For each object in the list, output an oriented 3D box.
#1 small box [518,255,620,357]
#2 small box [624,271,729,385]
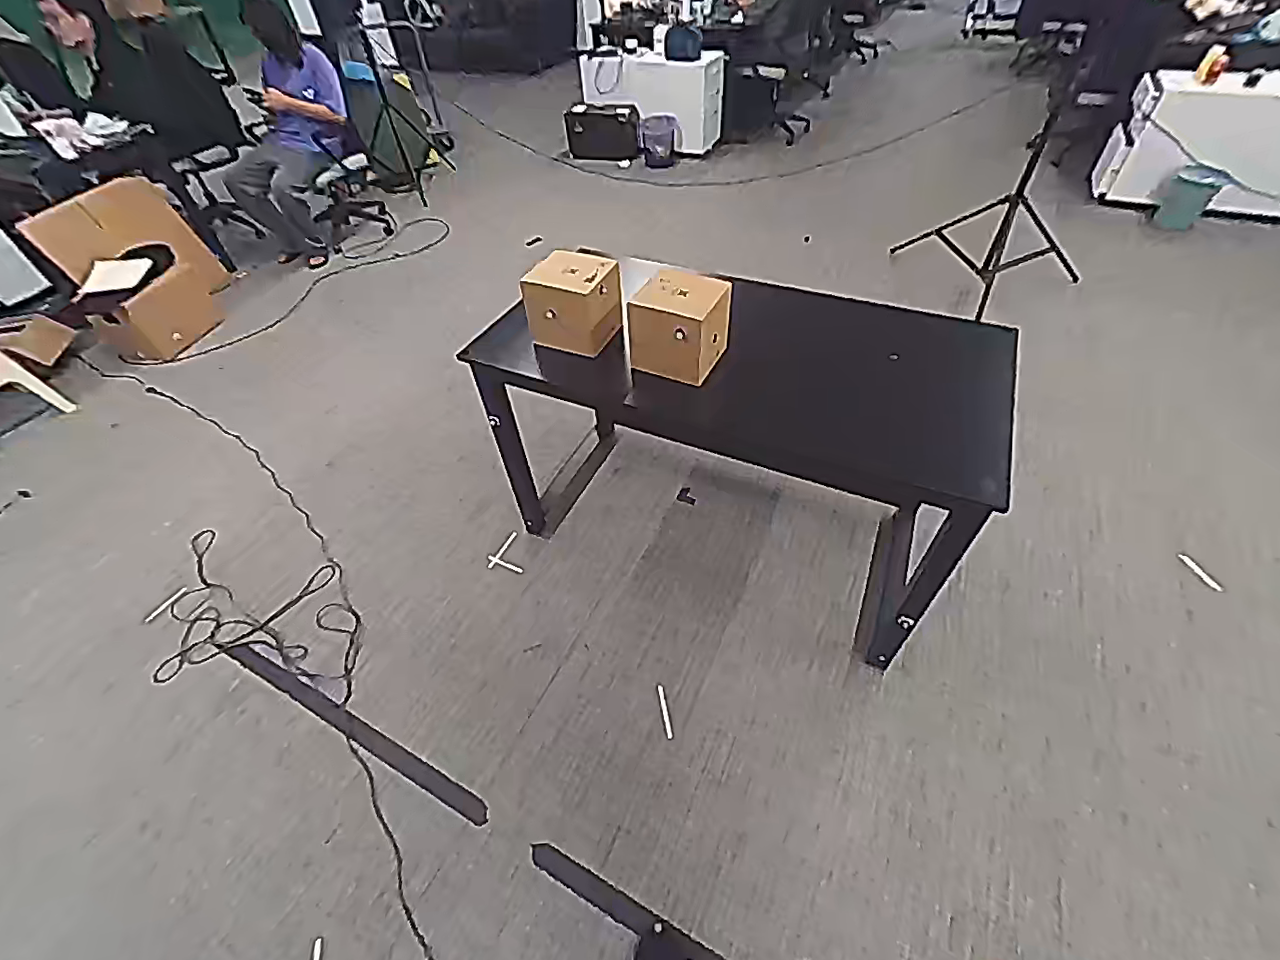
[{"bbox_3d":[-0.162,-0.417,1.299,0.179,0.176,0.168,16,51,18],"label":"small box"},{"bbox_3d":[0.082,-0.337,1.208,0.179,0.176,0.168,19,51,19],"label":"small box"}]
